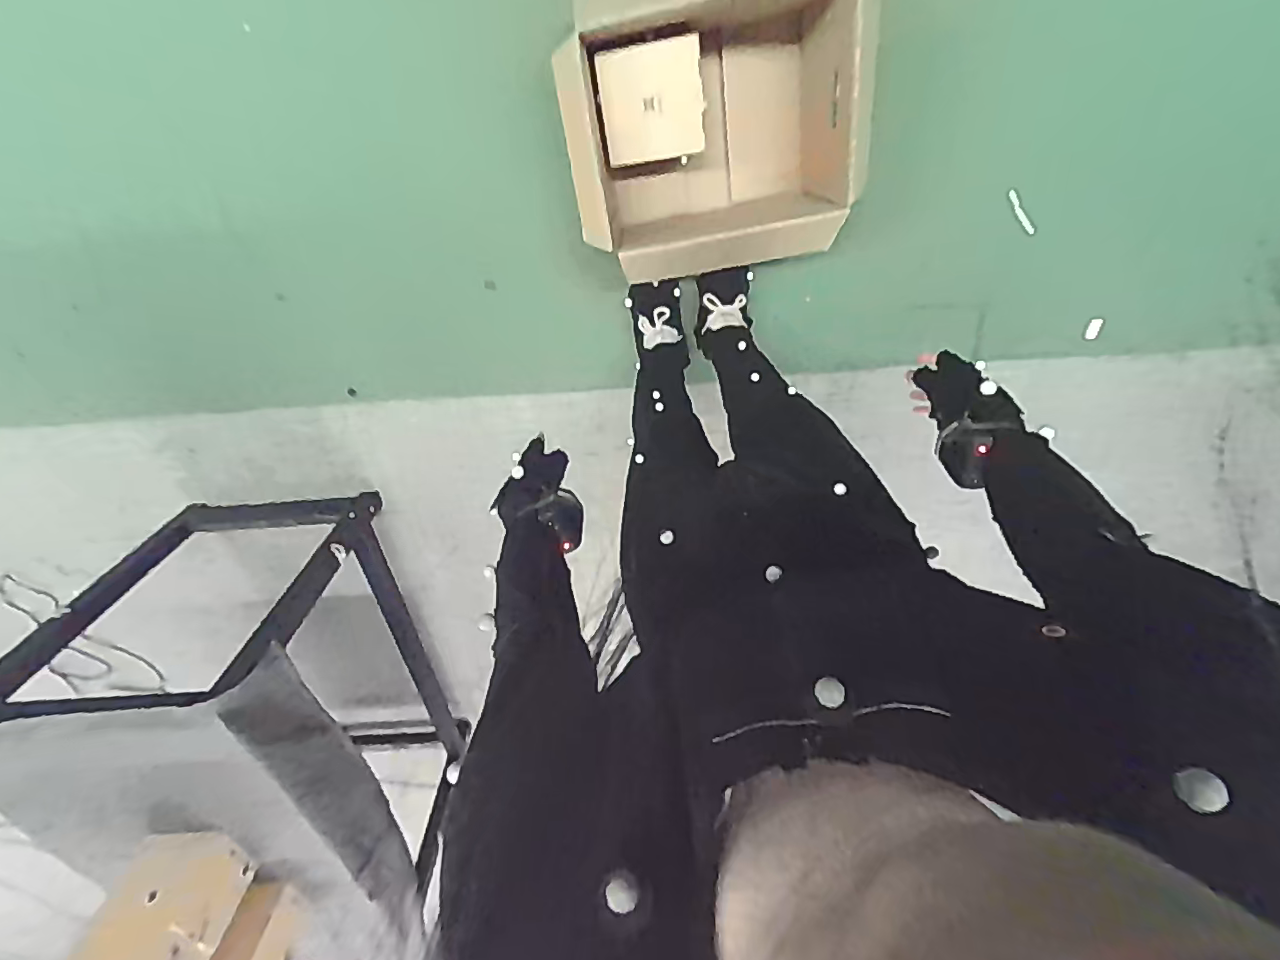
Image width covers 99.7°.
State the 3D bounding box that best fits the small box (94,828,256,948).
[{"bbox_3d":[-0.970,0.869,1.155,0.179,0.176,0.168,-4,122,4],"label":"small box"}]

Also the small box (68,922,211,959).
[{"bbox_3d":[-0.984,0.969,1.025,0.179,0.176,0.168,-6,123,3],"label":"small box"}]
